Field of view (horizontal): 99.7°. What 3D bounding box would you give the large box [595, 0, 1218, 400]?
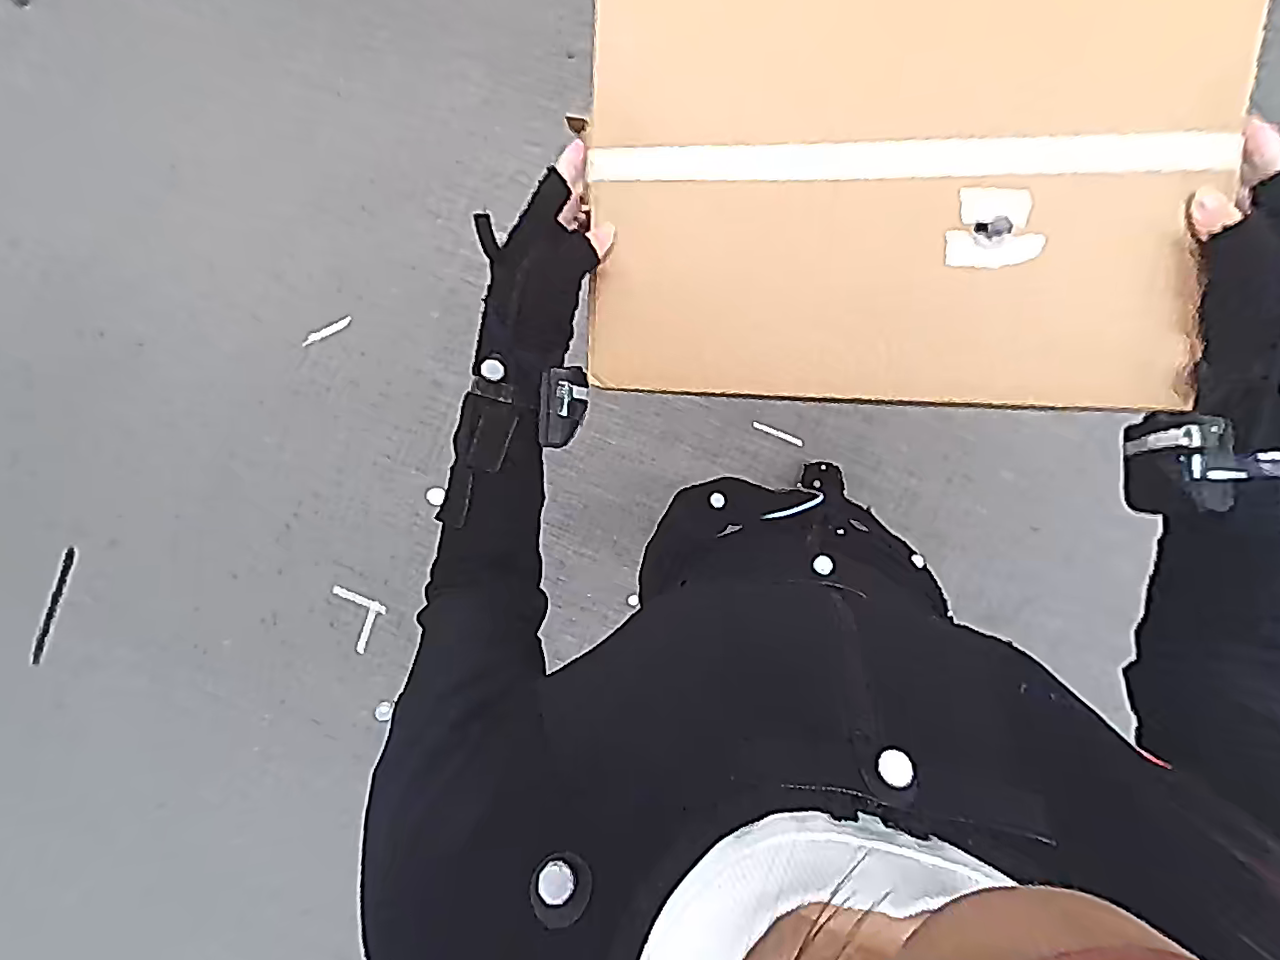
[{"bbox_3d":[0.180,-0.237,0.522,0.408,0.320,0.320,2,99,7],"label":"large box"}]
